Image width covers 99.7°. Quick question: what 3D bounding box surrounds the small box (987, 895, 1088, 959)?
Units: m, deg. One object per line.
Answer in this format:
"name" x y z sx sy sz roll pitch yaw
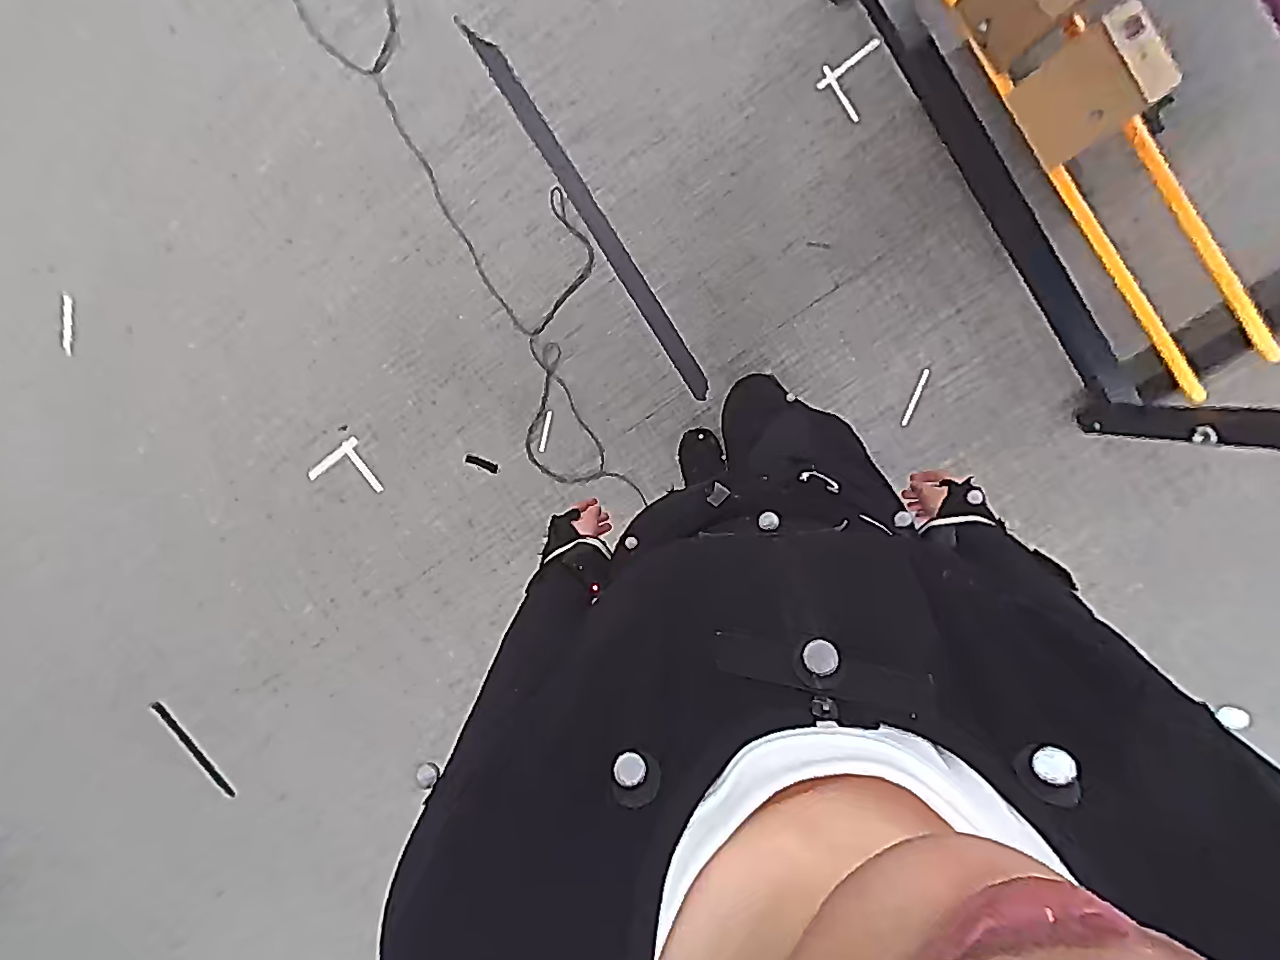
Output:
"small box" 1.057 1.243 1.406 0.168 0.176 0.179 -31 94 9

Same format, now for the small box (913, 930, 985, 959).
"small box" 0.873 1.371 1.446 0.168 0.176 0.179 -33 95 10

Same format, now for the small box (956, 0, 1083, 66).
"small box" 0.718 -0.910 0.967 0.179 0.176 0.168 -37 94 11
